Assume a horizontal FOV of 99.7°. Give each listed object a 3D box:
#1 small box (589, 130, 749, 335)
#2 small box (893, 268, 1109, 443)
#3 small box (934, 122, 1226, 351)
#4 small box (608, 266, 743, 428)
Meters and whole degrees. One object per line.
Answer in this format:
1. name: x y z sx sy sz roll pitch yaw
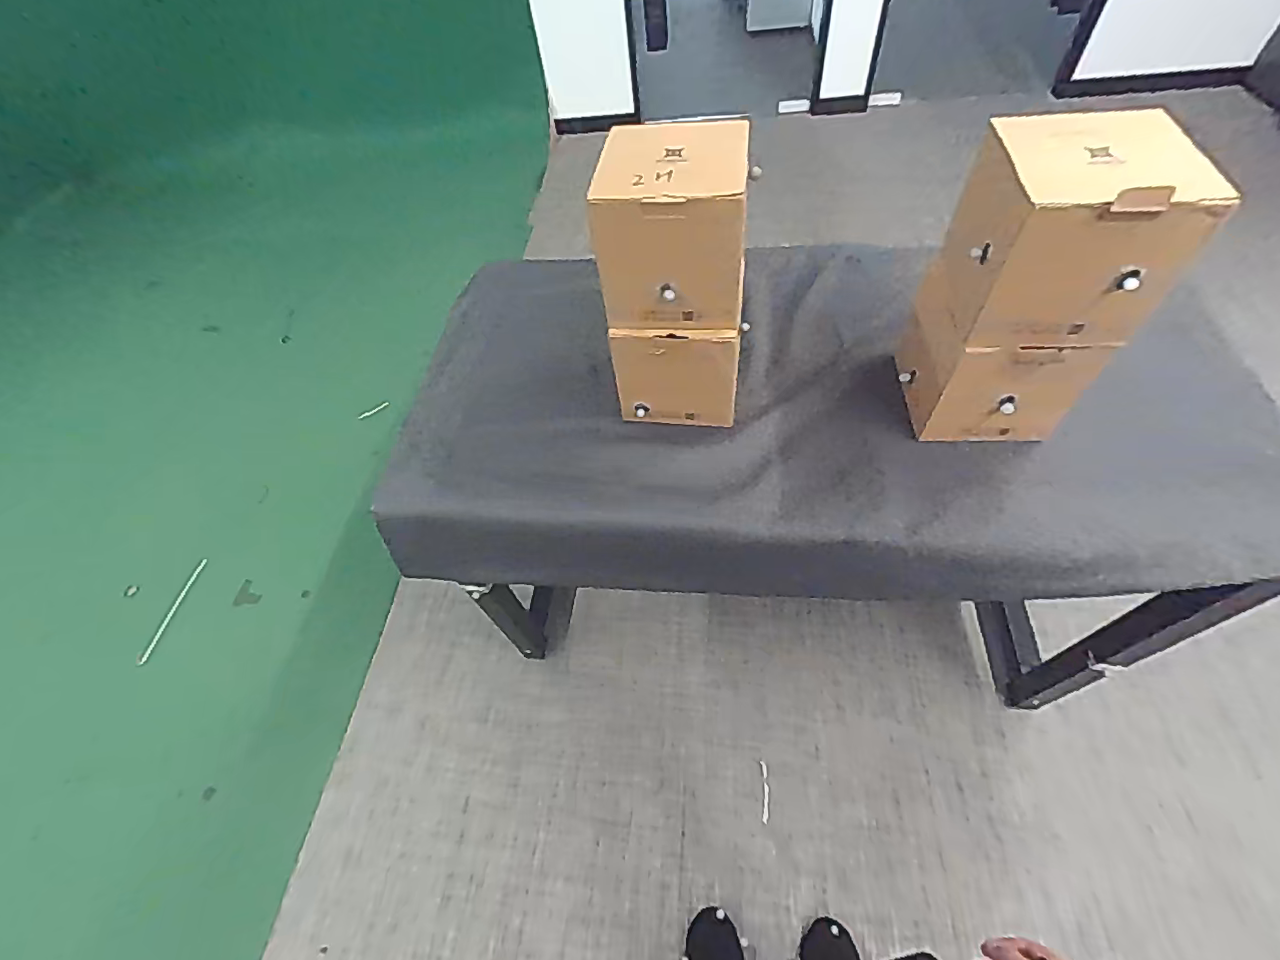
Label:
1. small box: 0.044 -0.304 0.671 0.168 0.176 0.179 3 55 10
2. small box: 0.459 -0.163 0.723 0.168 0.176 0.179 0 55 7
3. small box: 0.447 -0.258 0.591 0.168 0.176 0.179 3 54 8
4. small box: 0.060 -0.195 0.795 0.168 0.176 0.179 5 54 10
